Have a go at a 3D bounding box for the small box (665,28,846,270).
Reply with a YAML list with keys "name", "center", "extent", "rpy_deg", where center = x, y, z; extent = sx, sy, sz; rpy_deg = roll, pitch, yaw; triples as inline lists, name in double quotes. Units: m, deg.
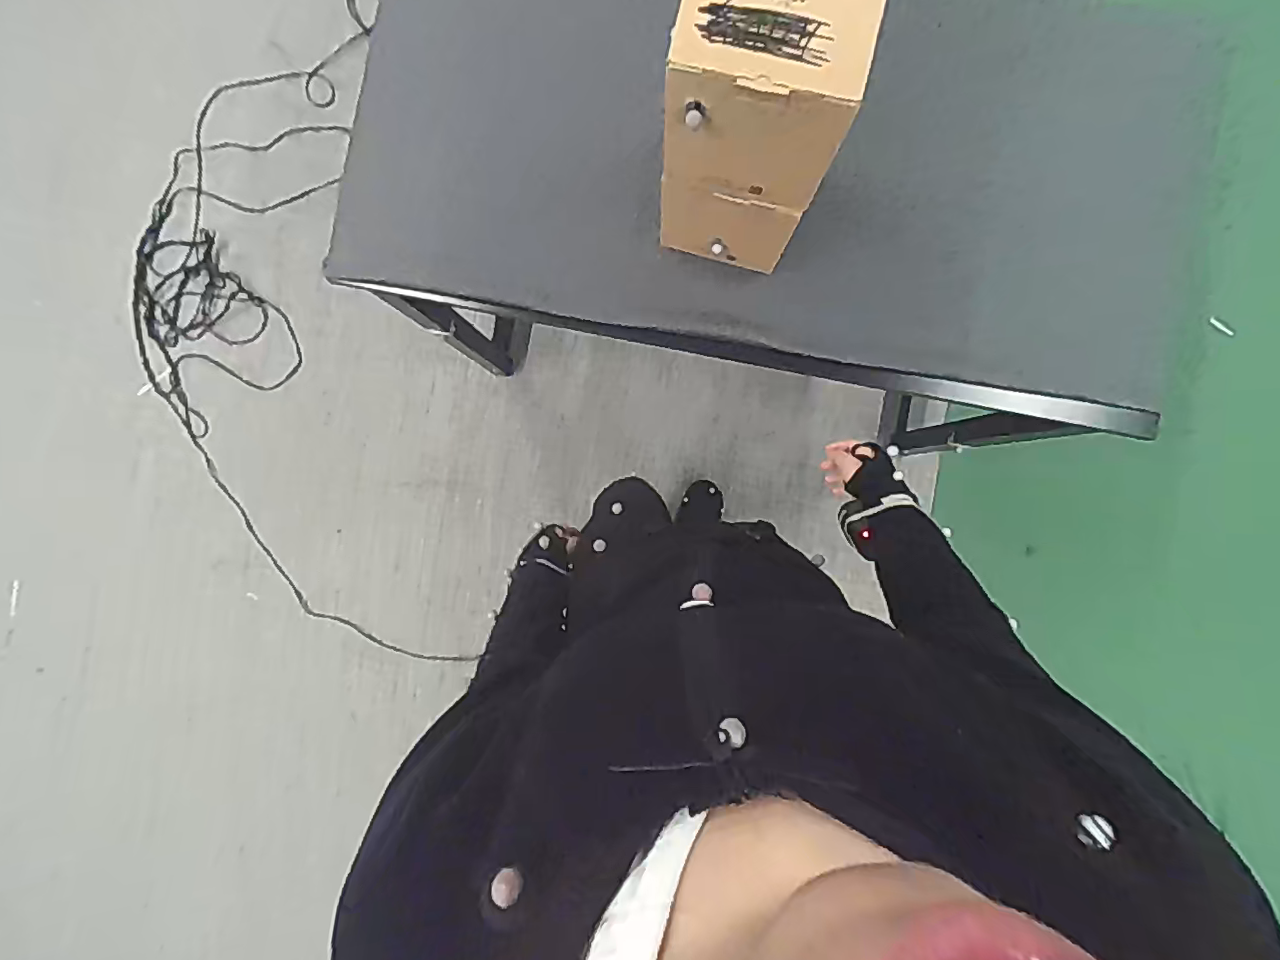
- name: "small box"
  center: [0.130, -0.397, 0.678]
  extent: [0.168, 0.176, 0.179]
  rpy_deg: [16, 89, 2]
